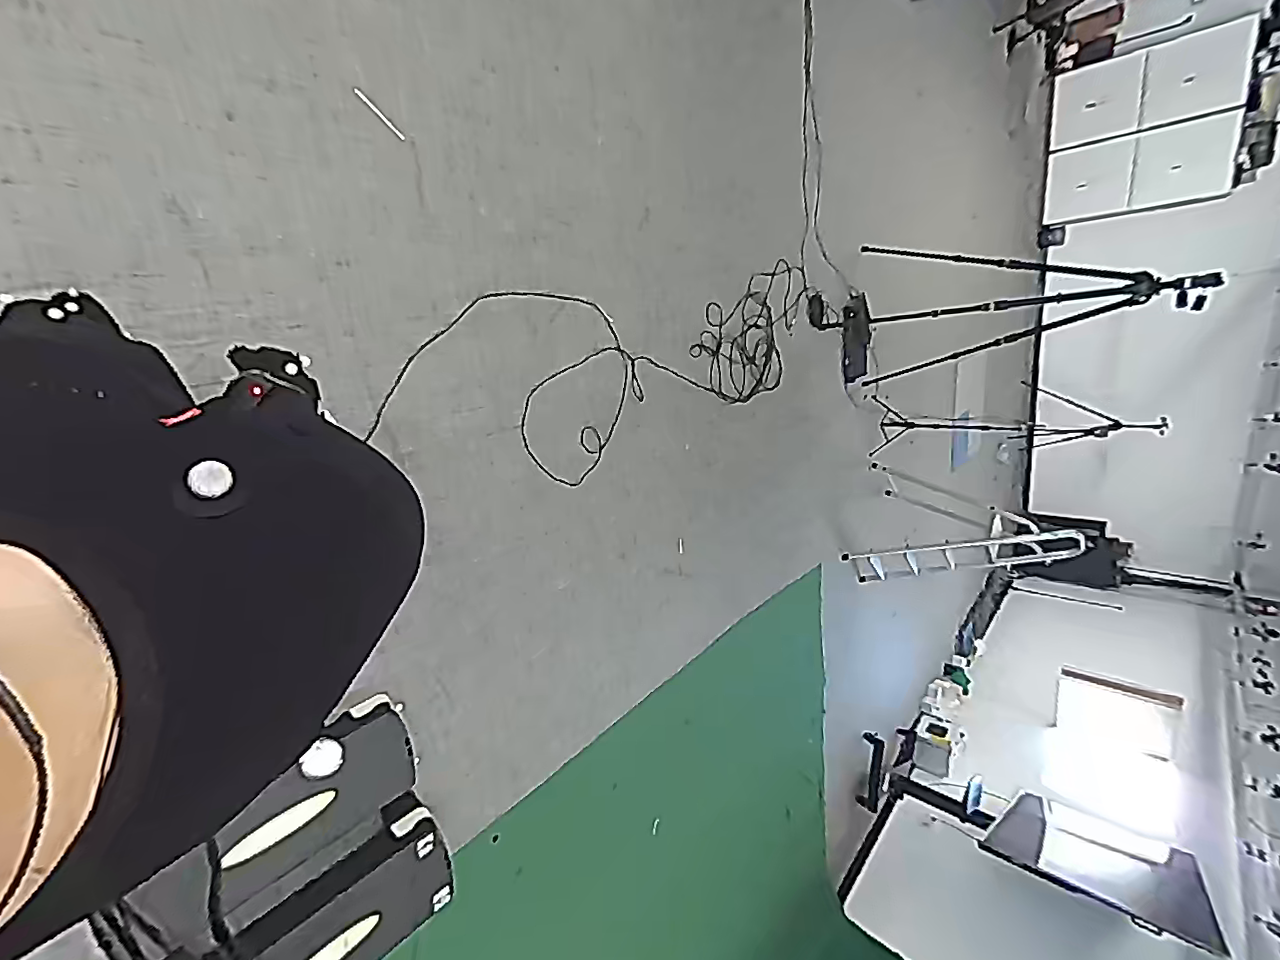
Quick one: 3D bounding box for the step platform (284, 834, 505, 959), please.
[{"bbox_3d":[-0.671,1.208,1.283,0.684,0.204,0.286,-23,112,-44],"label":"step platform"}]
